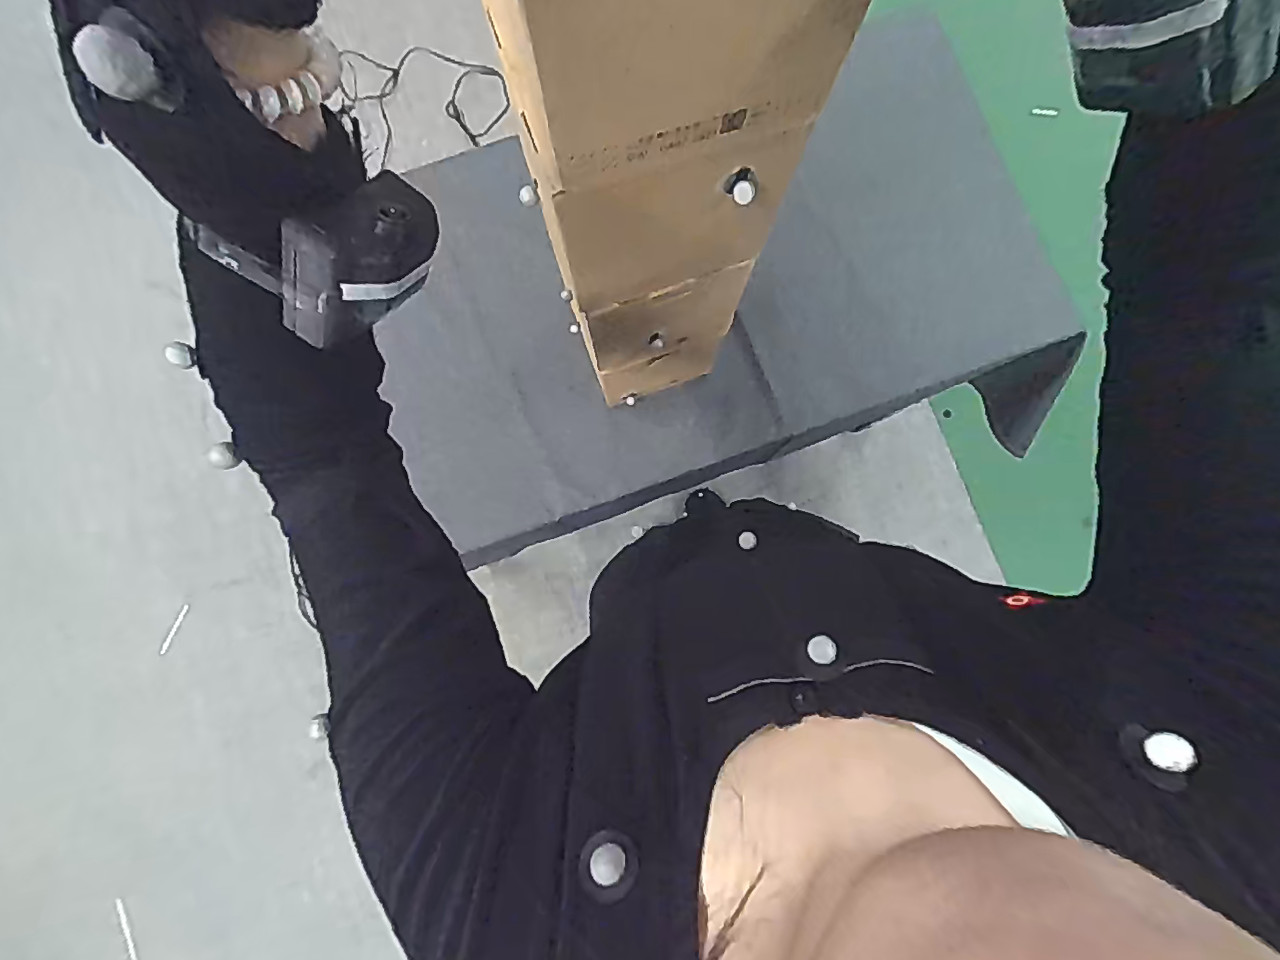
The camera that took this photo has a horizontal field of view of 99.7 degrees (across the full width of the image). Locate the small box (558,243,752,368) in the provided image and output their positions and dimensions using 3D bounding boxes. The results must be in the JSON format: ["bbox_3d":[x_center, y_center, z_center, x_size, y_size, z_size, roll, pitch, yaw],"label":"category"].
[{"bbox_3d":[0.000,-0.248,0.587,0.168,0.176,0.179,-20,83,-2],"label":"small box"}]

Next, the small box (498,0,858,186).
[{"bbox_3d":[0.004,-0.288,0.261,0.168,0.176,0.179,-17,83,-2],"label":"small box"}]

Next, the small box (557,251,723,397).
[{"bbox_3d":[0.002,-0.228,0.748,0.168,0.176,0.179,-20,82,-2],"label":"small box"}]

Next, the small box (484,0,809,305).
[{"bbox_3d":[0.001,-0.266,0.423,0.179,0.176,0.168,-18,83,-2],"label":"small box"}]
